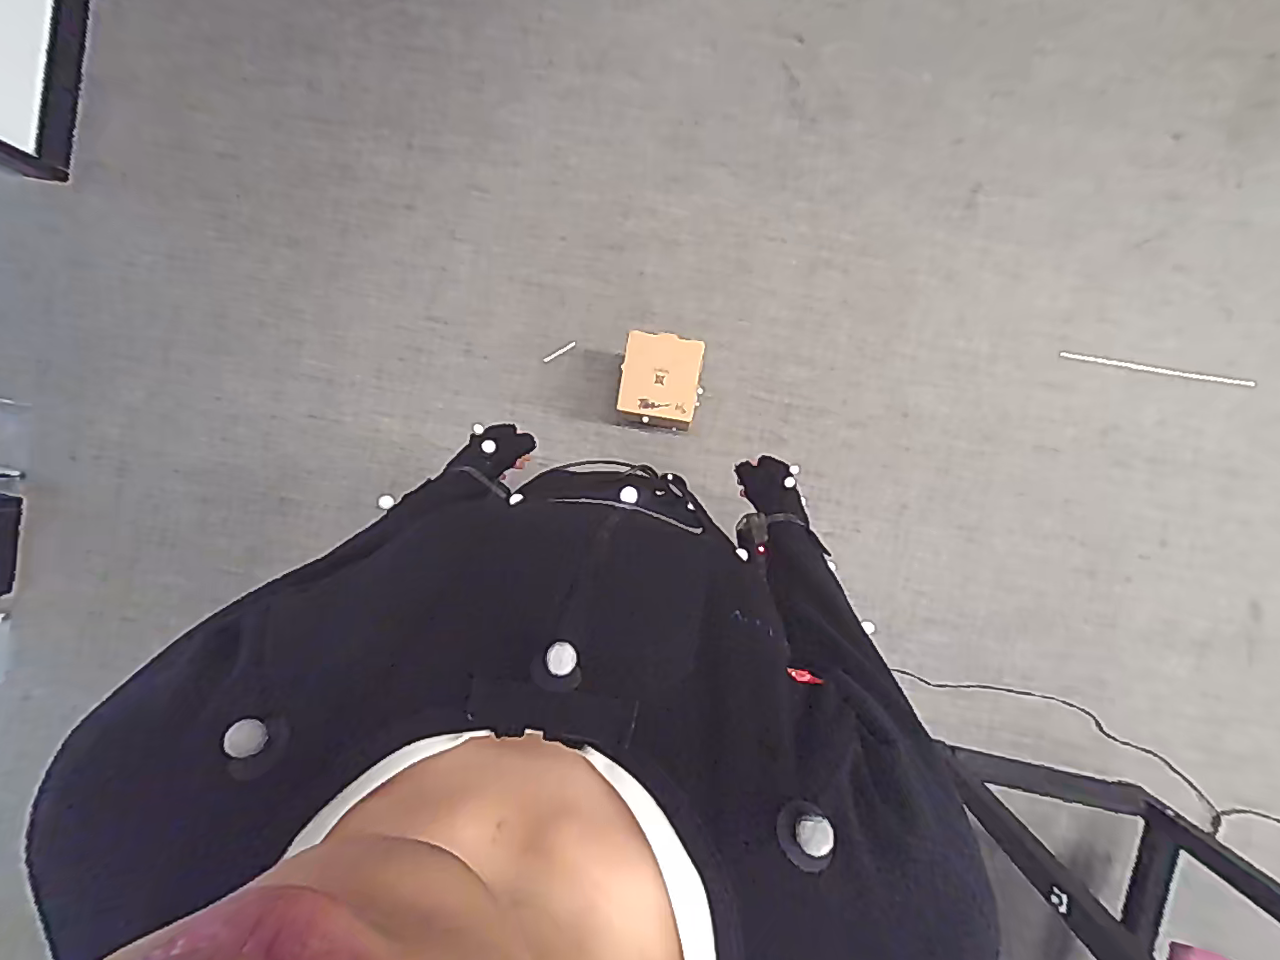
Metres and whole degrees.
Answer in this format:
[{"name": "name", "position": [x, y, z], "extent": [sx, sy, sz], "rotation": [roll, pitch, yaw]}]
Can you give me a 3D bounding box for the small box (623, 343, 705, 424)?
[{"name": "small box", "position": [0.063, -0.240, 1.389], "extent": [0.179, 0.176, 0.168], "rotation": [11, 93, 3]}]
